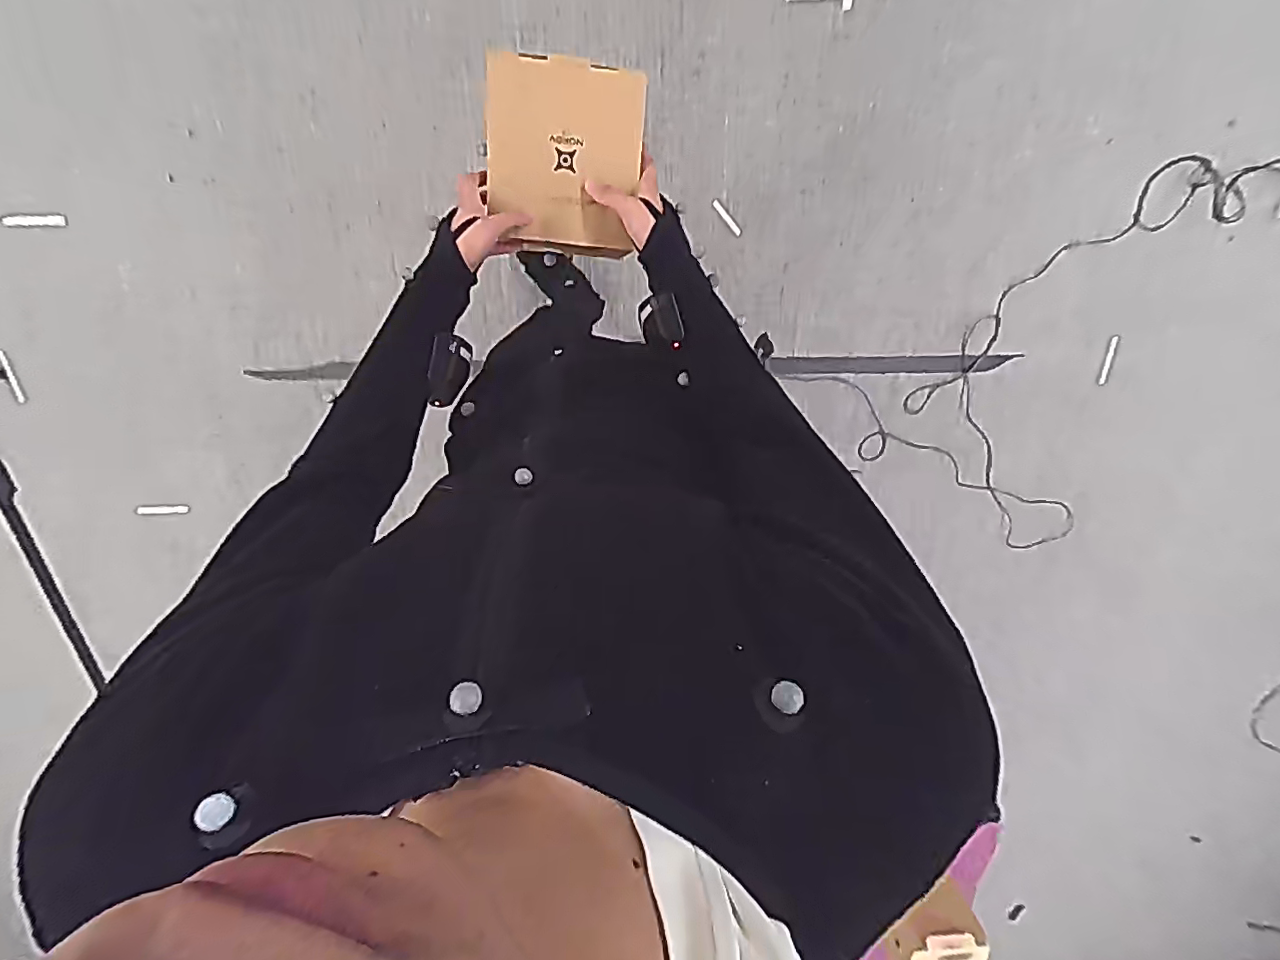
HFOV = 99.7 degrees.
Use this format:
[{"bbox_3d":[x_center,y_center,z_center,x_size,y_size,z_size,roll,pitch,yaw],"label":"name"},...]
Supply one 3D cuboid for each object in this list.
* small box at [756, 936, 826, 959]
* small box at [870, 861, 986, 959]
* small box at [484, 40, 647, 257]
[{"bbox_3d":[0.386,1.277,1.338,0.168,0.176,0.179,1,112,-2],"label":"small box"},{"bbox_3d":[0.647,1.008,1.240,0.168,0.176,0.179,-3,114,-1],"label":"small box"},{"bbox_3d":[-0.091,-0.376,0.648,0.168,0.176,0.179,3,108,-8],"label":"small box"}]
